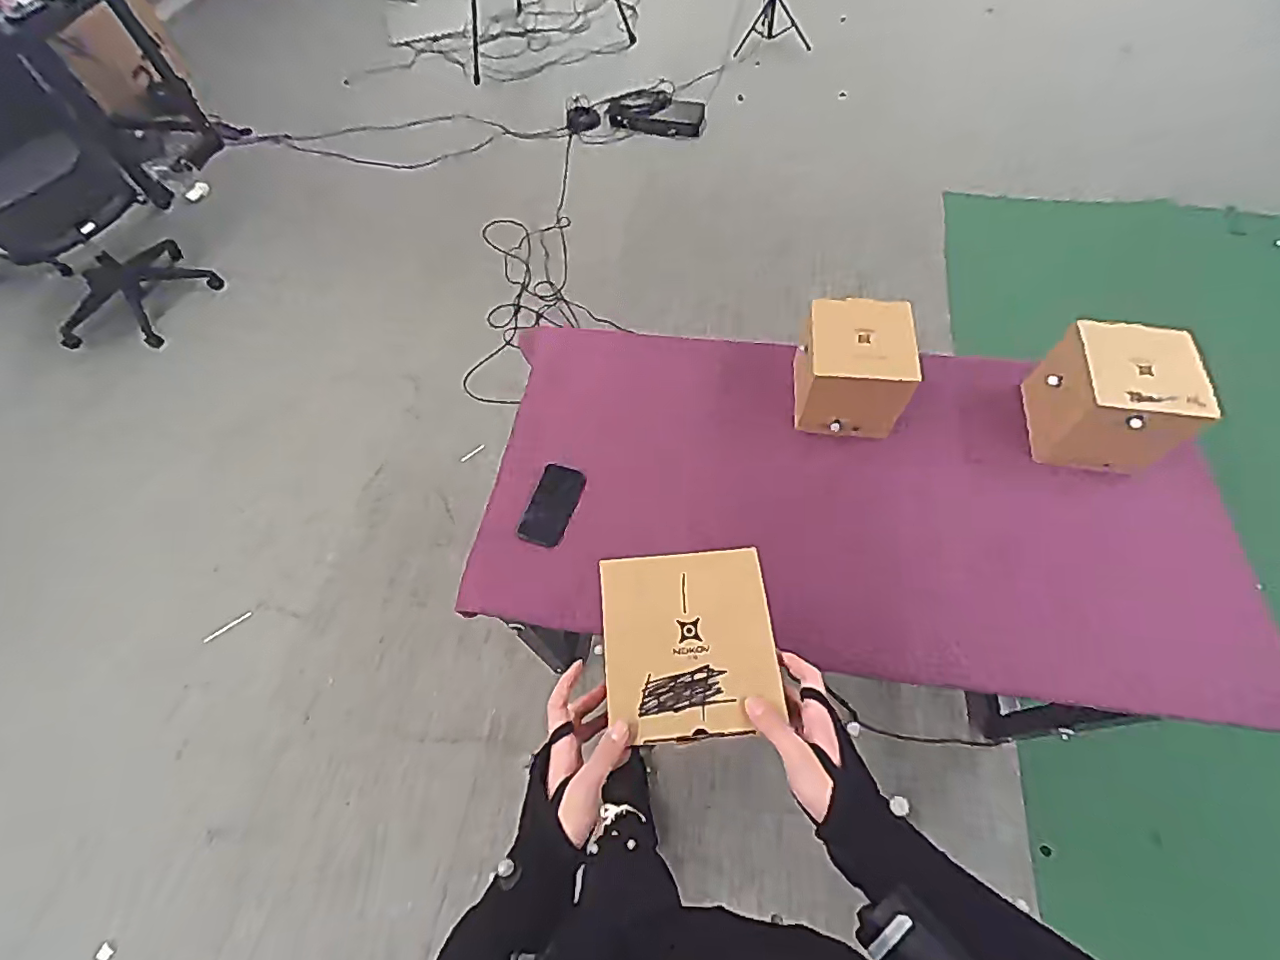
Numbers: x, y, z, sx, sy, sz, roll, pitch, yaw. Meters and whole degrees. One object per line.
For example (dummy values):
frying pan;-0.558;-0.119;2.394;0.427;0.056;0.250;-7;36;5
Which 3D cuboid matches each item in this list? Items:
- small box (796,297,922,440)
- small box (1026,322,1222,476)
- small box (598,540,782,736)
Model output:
small box;0.375;-0.195;0.958;0.168;0.176;0.179;5;61;8
small box;0.776;-0.131;0.895;0.168;0.176;0.179;8;61;9
small box;0.045;0.179;0.594;0.168;0.176;0.179;-4;64;-2
